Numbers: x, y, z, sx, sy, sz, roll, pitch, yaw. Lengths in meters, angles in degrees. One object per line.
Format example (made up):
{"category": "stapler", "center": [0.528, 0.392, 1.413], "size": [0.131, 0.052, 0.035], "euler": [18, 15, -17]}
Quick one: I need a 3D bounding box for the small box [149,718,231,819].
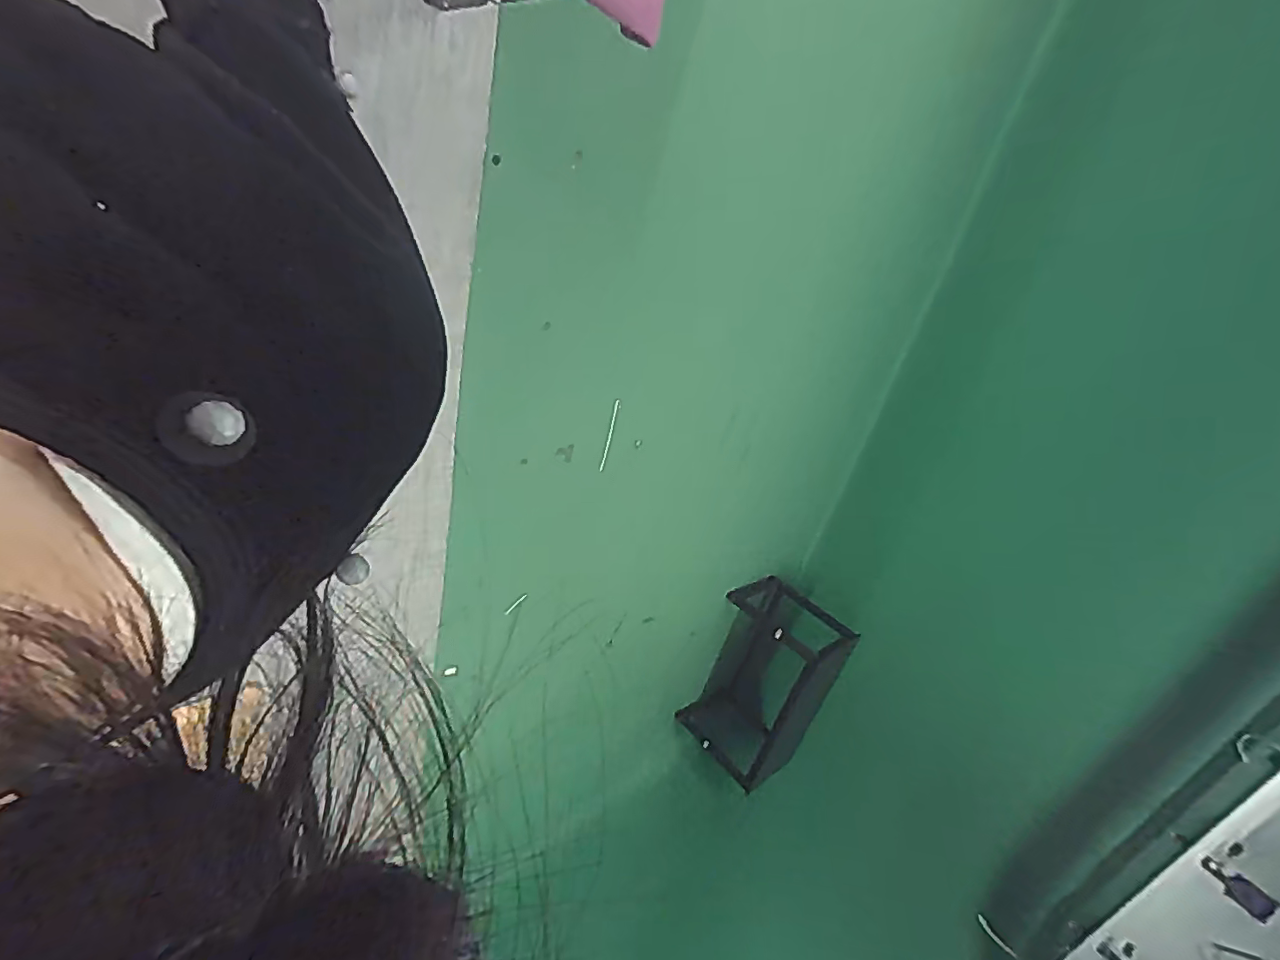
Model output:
{"category": "small box", "center": [-1.302, 0.817, 1.560], "size": [0.168, 0.176, 0.179], "euler": [-3, 121, -45]}
